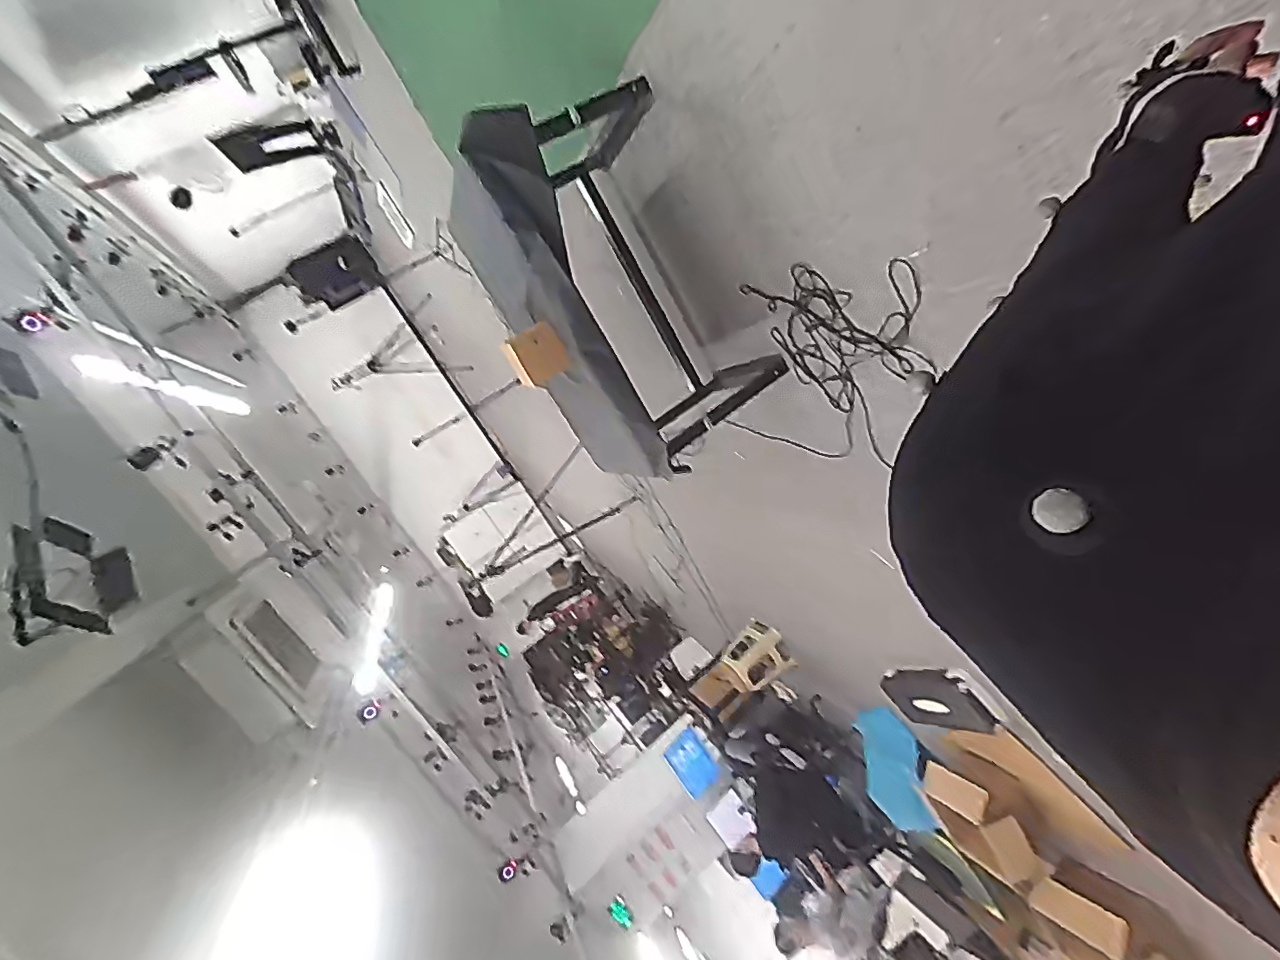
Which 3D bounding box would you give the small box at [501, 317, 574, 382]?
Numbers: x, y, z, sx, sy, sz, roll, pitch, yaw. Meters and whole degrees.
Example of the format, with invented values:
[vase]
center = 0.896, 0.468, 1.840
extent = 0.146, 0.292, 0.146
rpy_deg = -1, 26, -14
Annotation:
[small box]
center = -0.369, -0.475, 1.954
extent = 0.179, 0.176, 0.168
rpy_deg = 60, 164, -23
